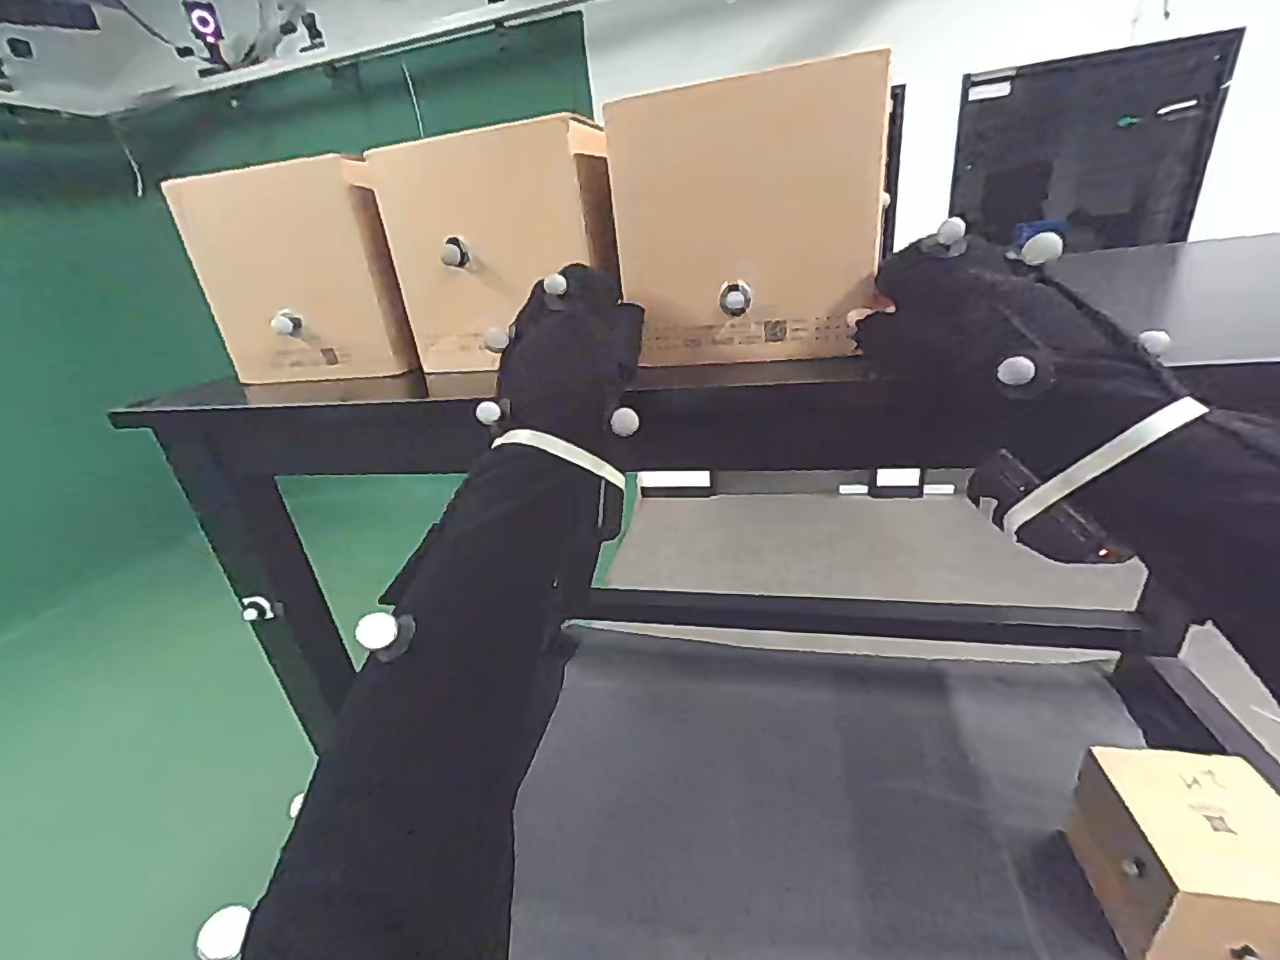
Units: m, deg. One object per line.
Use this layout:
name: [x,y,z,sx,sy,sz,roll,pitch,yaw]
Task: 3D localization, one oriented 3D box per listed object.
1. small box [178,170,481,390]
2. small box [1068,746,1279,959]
small box: [-0.272,-0.190,0.525,0.168,0.176,0.179,-1,26,13]
small box: [0.650,0.451,0.636,0.168,0.176,0.179,-1,24,13]
